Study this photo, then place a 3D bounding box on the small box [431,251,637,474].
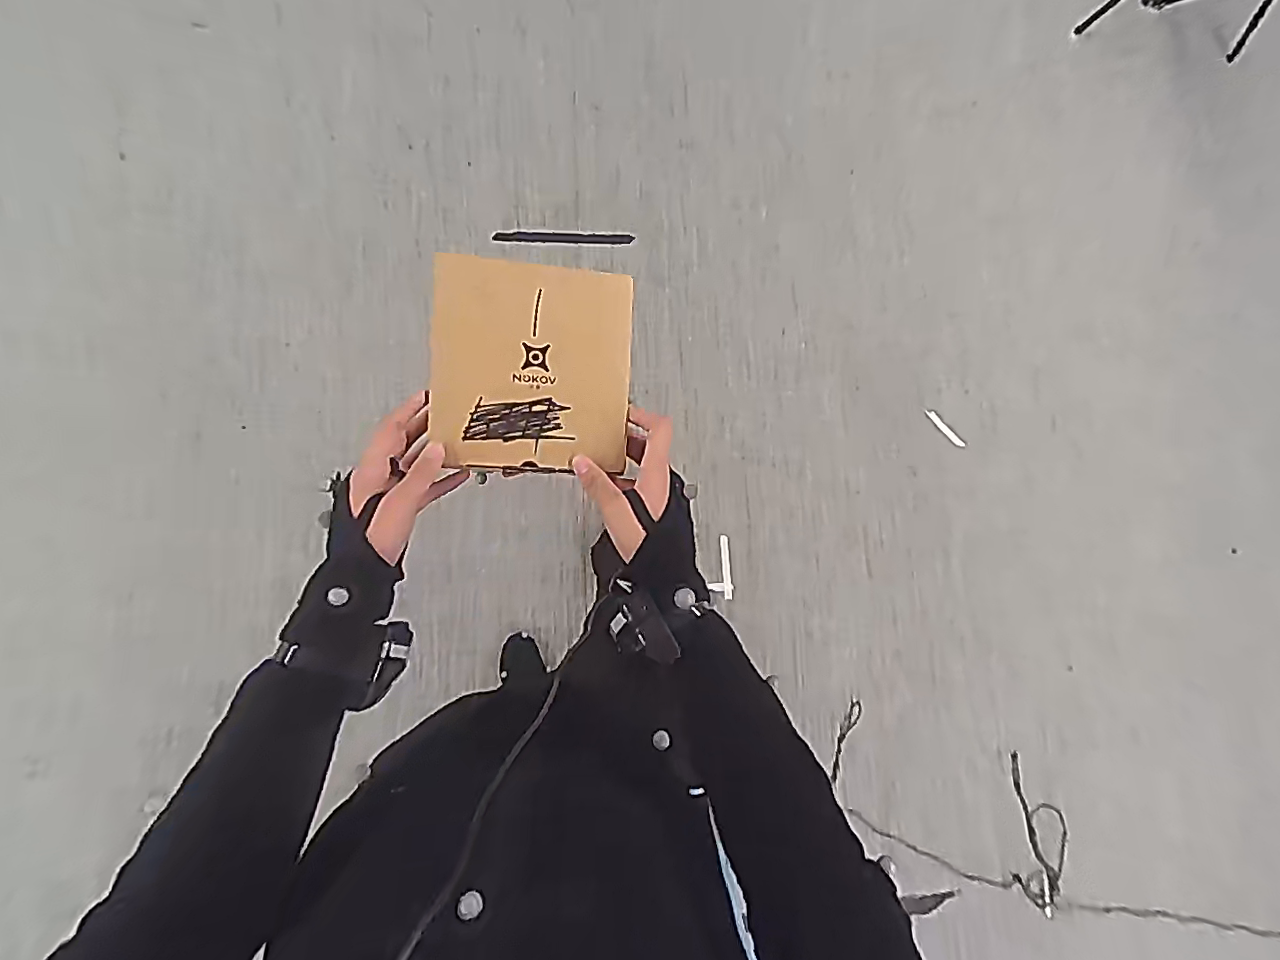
[{"bbox_3d":[-0.101,-0.097,0.534,0.168,0.176,0.179,3,89,-12],"label":"small box"}]
